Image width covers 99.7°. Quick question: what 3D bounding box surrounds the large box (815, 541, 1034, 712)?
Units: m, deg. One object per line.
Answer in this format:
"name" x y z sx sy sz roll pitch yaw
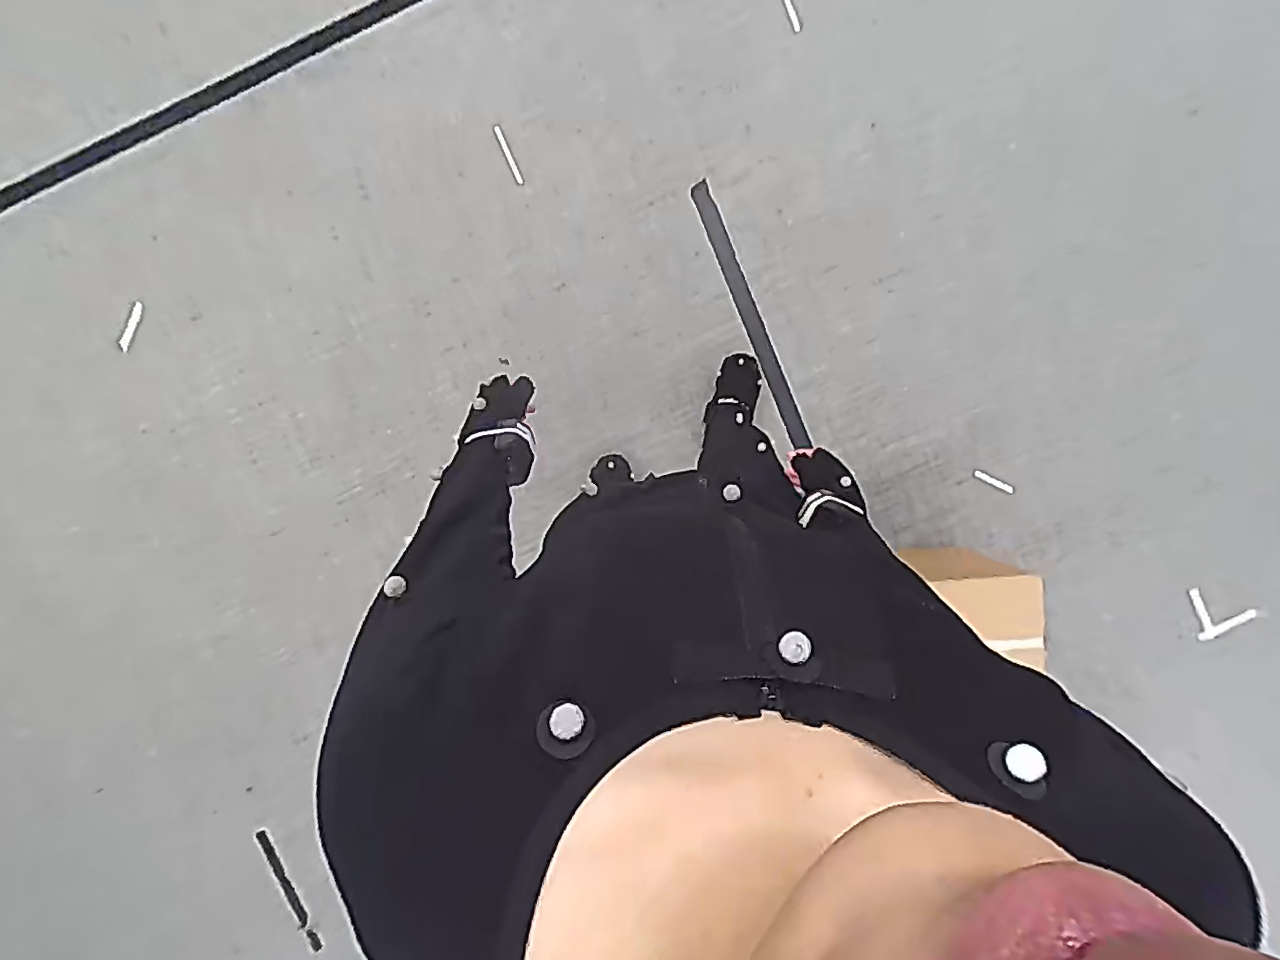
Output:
"large box" 0.695 0.351 1.374 0.408 0.320 0.320 -4 95 0
